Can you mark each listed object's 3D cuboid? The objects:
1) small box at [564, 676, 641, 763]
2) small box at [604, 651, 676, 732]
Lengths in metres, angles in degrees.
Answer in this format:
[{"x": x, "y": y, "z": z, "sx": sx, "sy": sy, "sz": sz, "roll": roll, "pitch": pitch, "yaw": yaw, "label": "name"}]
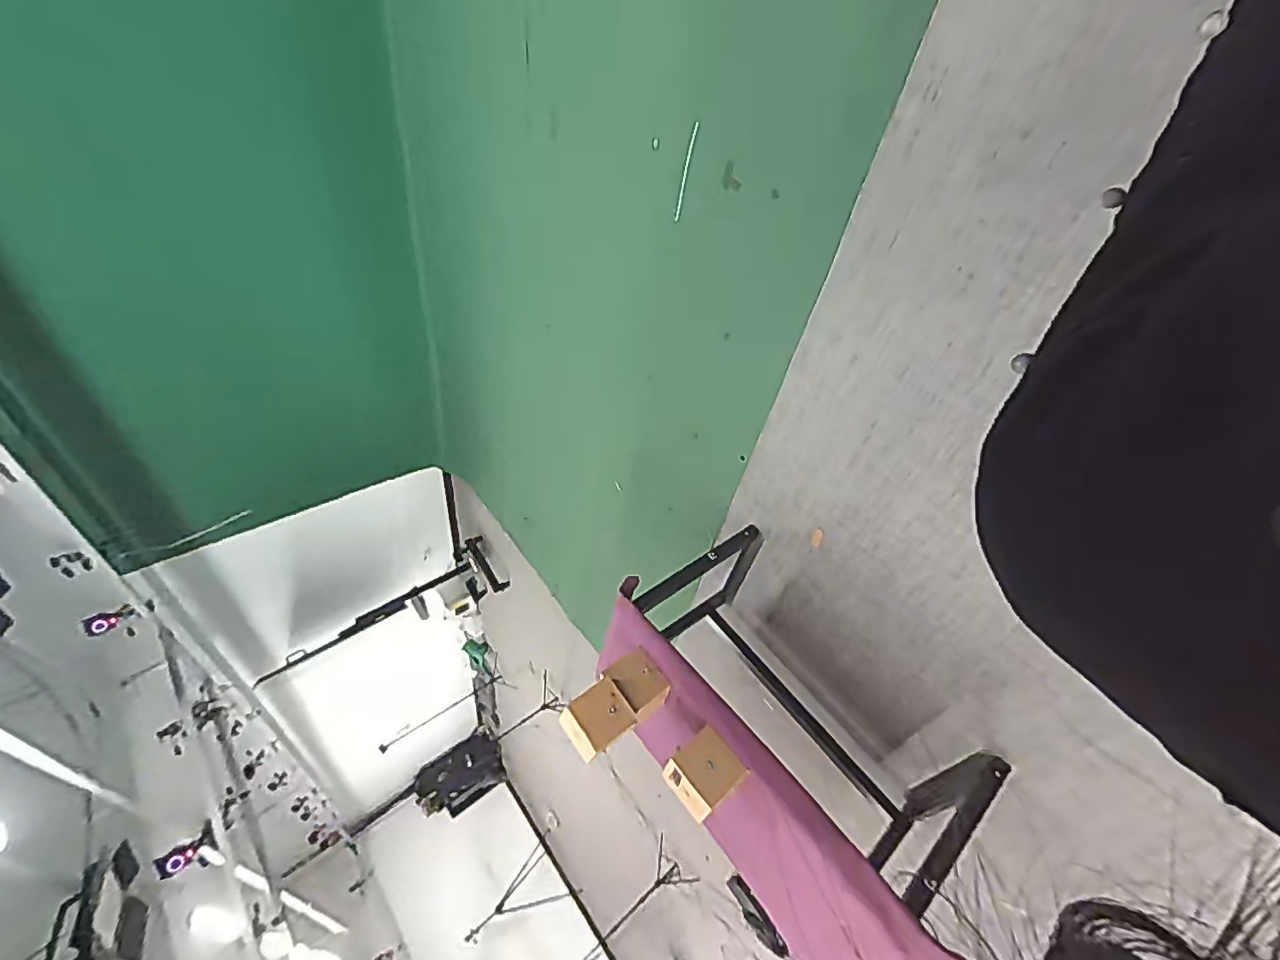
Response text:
[{"x": -0.120, "y": 0.759, "z": 1.718, "sx": 0.168, "sy": 0.176, "sz": 0.179, "roll": 50, "pitch": 144, "yaw": 22, "label": "small box"}, {"x": -0.006, "y": 0.704, "z": 1.824, "sx": 0.179, "sy": 0.176, "sz": 0.168, "roll": 45, "pitch": 144, "yaw": 29, "label": "small box"}]
